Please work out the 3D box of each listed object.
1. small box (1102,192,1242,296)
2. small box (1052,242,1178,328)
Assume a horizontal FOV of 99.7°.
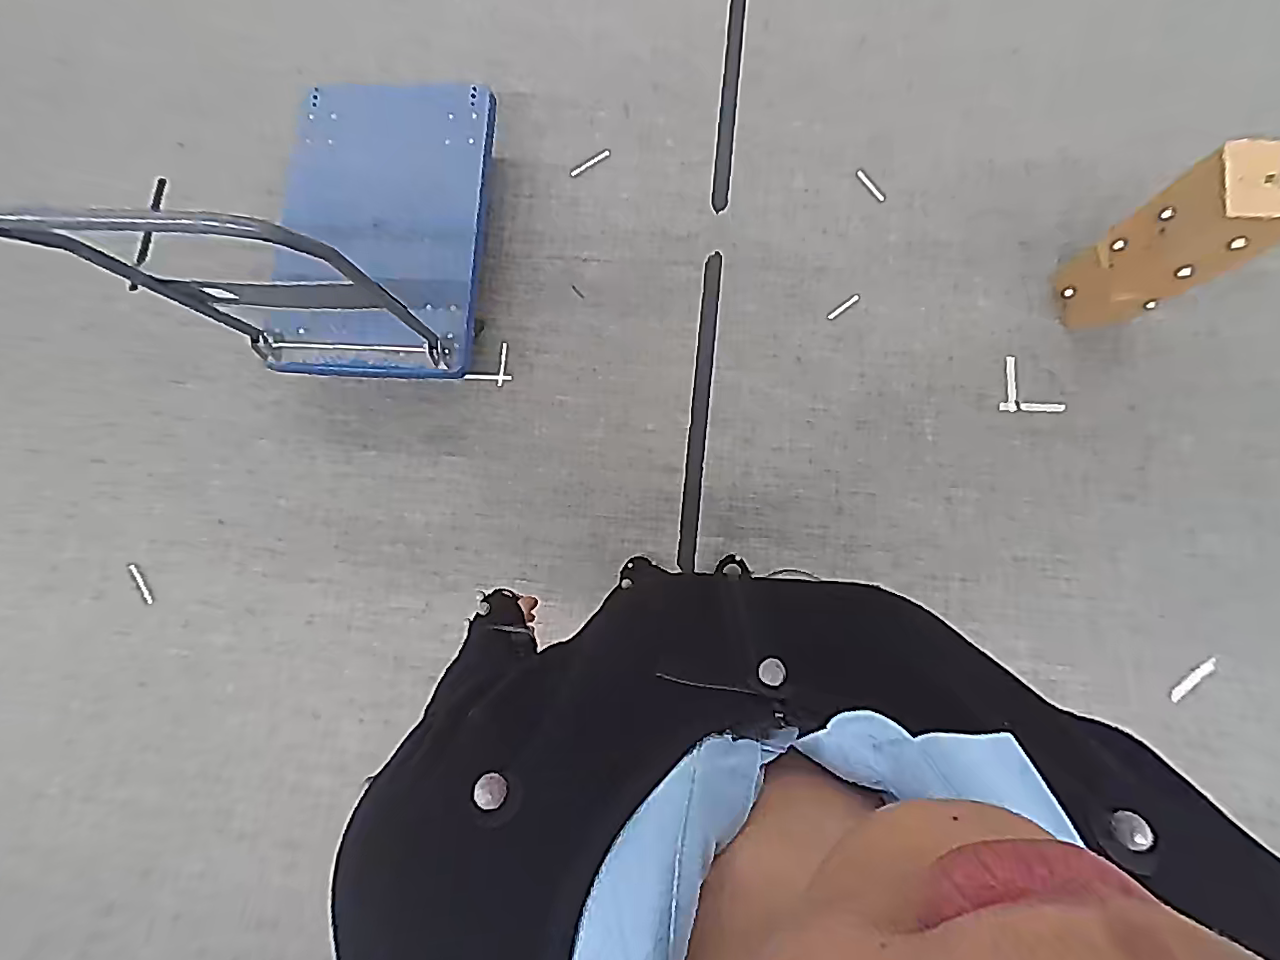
[{"bbox_3d":[1.266,-0.558,1.296,0.179,0.176,0.168,5,82,5],"label":"small box"},{"bbox_3d":[1.270,-0.529,1.456,0.179,0.176,0.168,-7,81,3],"label":"small box"}]
